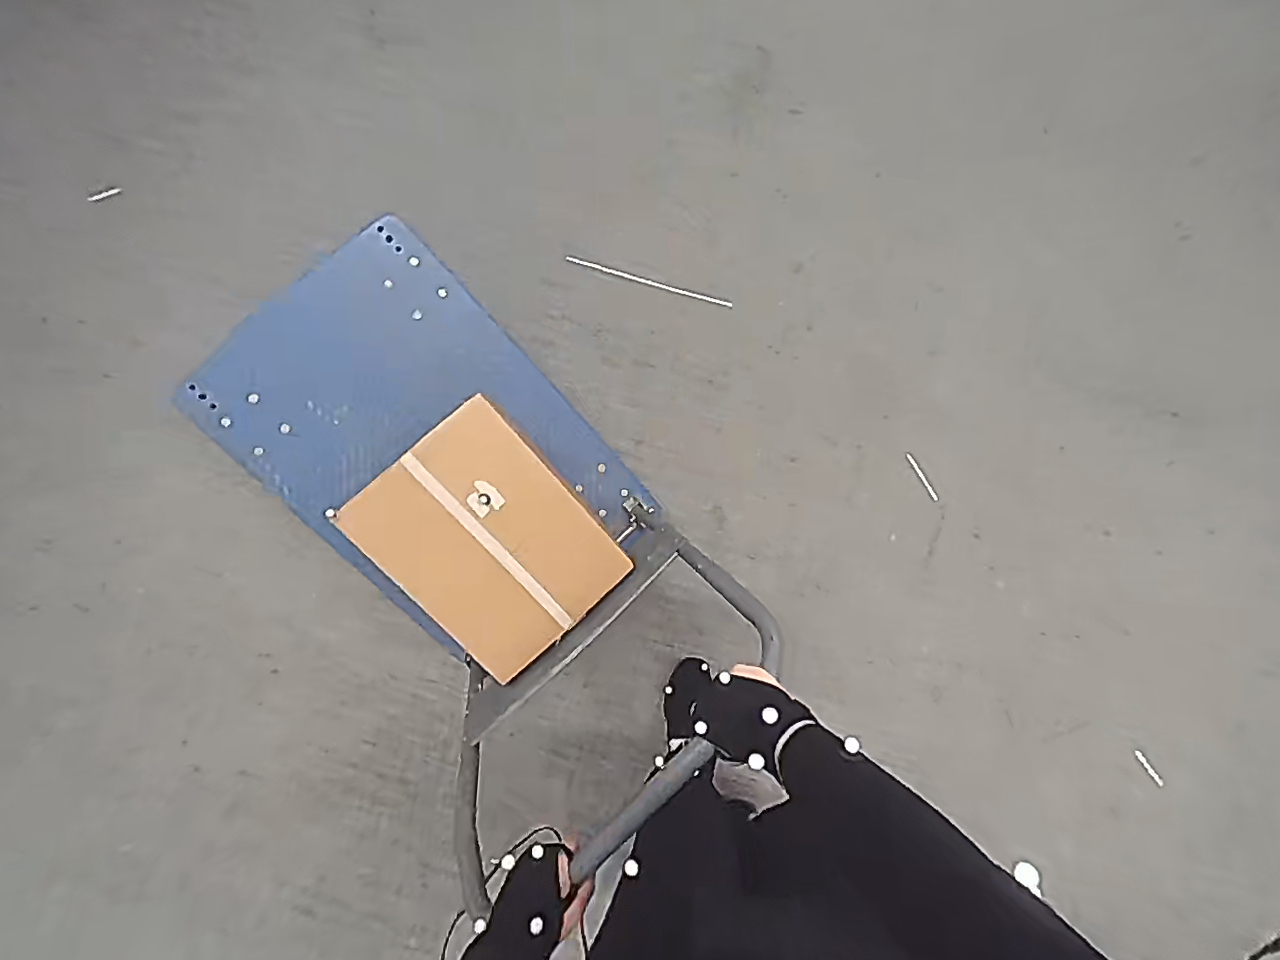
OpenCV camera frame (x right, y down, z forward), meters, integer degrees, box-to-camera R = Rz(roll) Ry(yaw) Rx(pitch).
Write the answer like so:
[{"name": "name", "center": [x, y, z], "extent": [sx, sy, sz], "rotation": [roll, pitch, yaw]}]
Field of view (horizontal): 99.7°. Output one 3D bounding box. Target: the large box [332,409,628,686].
[{"name": "large box", "center": [-0.284, 0.108, 1.065], "extent": [0.320, 0.320, 0.408], "rotation": [-43, 102, -4]}]
